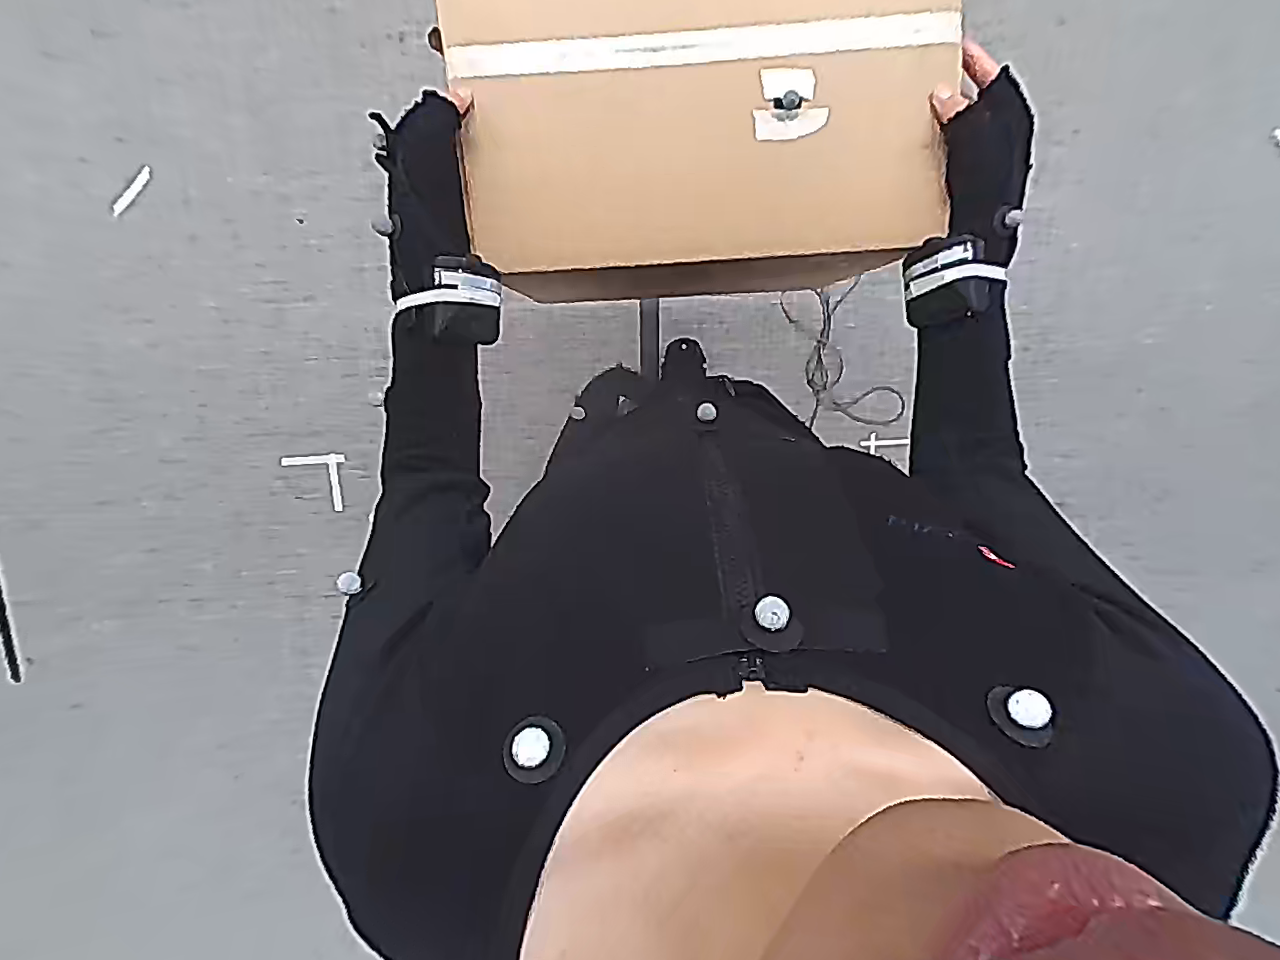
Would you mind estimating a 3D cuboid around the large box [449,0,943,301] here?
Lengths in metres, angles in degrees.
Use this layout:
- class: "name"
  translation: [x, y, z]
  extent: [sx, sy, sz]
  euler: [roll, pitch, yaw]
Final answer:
- class: "large box"
  translation: [0.044, -0.384, 0.587]
  extent: [0.408, 0.320, 0.320]
  euler: [-4, 104, 0]
